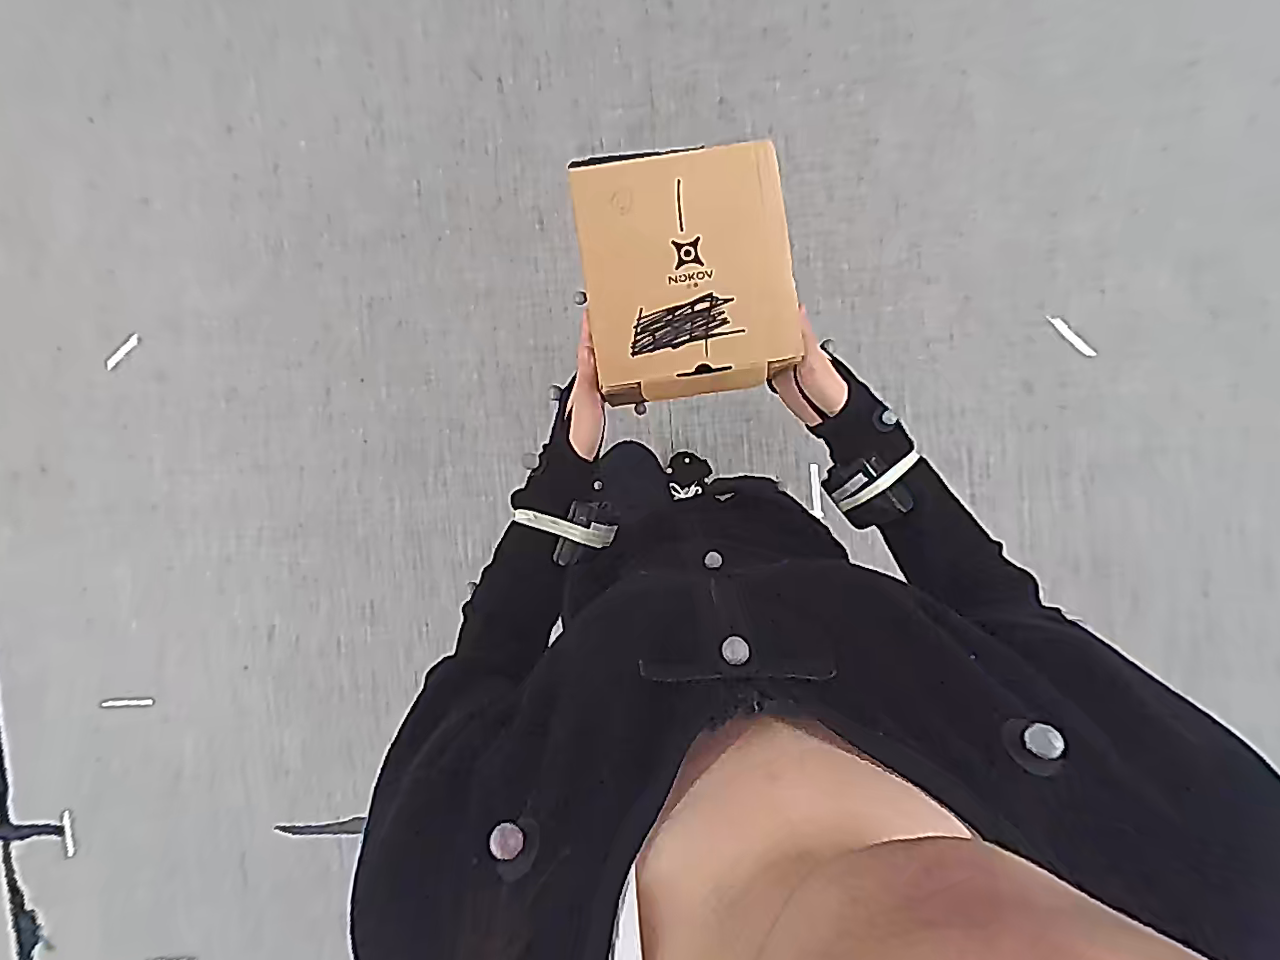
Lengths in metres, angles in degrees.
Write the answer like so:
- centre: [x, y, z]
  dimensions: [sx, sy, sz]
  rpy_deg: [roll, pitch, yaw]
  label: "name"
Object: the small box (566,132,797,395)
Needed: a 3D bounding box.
- centre: [0.034, -0.178, 0.503]
  dimensions: [0.168, 0.176, 0.179]
  rpy_deg: [-9, 93, 0]
  label: "small box"
